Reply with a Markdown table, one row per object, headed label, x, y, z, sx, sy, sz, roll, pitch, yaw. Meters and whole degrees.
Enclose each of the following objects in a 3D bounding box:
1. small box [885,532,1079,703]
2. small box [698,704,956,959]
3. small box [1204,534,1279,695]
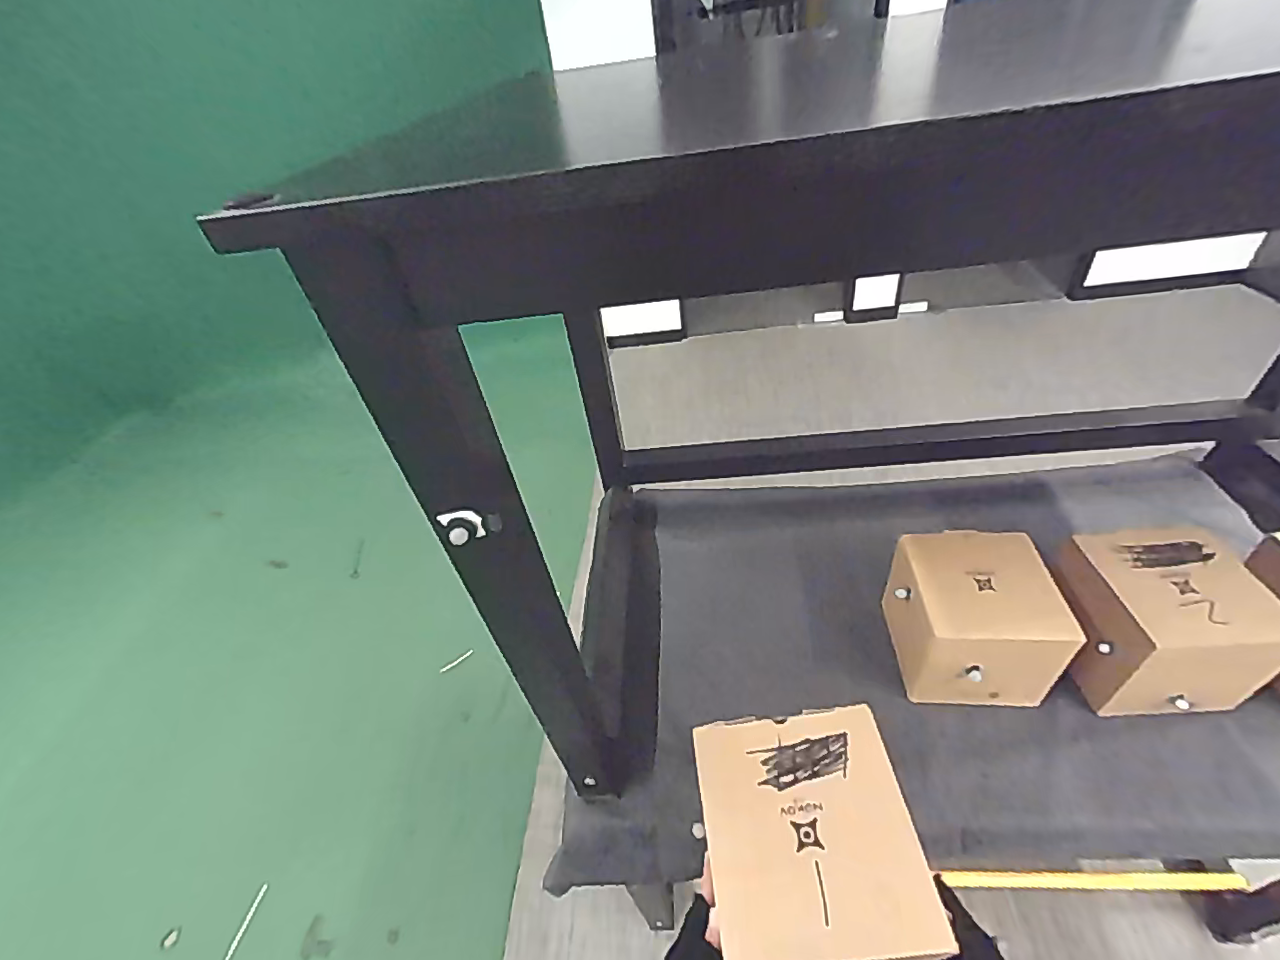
| label | x | y | z | sx | sy | sz | roll | pitch | yaw |
| --- | --- | --- | --- | --- | --- | --- | --- | --- | --- |
| small box | 0.460 | 0.195 | 0.762 | 0.168 | 0.176 | 0.179 | -2 | 41 | 10 |
| small box | 0.150 | 0.334 | 0.500 | 0.168 | 0.176 | 0.179 | -10 | 45 | 4 |
| small box | 0.900 | 0.181 | 0.682 | 0.168 | 0.176 | 0.179 | -5 | 40 | 5 |
